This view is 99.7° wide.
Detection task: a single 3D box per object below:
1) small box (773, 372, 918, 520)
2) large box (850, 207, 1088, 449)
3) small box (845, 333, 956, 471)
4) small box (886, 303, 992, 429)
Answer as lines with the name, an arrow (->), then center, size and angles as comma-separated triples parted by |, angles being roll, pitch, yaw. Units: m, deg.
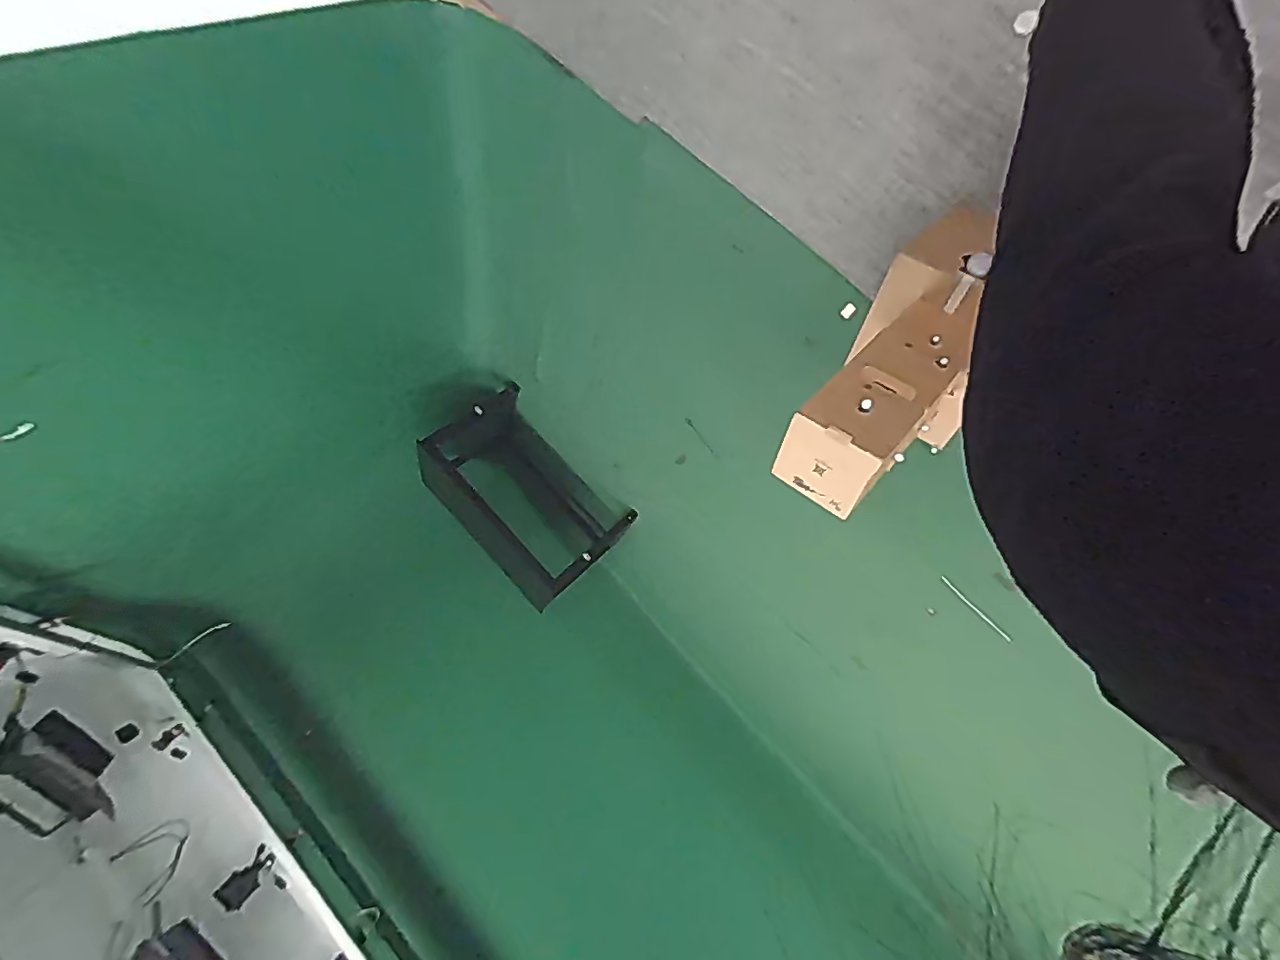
small box -> 0.377, -0.068, 0.992 | 0.168, 0.176, 0.179 | 37, 147, 22
large box -> 0.754, -0.365, 1.305 | 0.320, 0.320, 0.408 | 38, 150, 23
small box -> 0.490, -0.160, 1.069 | 0.168, 0.176, 0.179 | 37, 149, 23
small box -> 0.602, -0.247, 1.150 | 0.179, 0.176, 0.168 | 38, 148, 22
